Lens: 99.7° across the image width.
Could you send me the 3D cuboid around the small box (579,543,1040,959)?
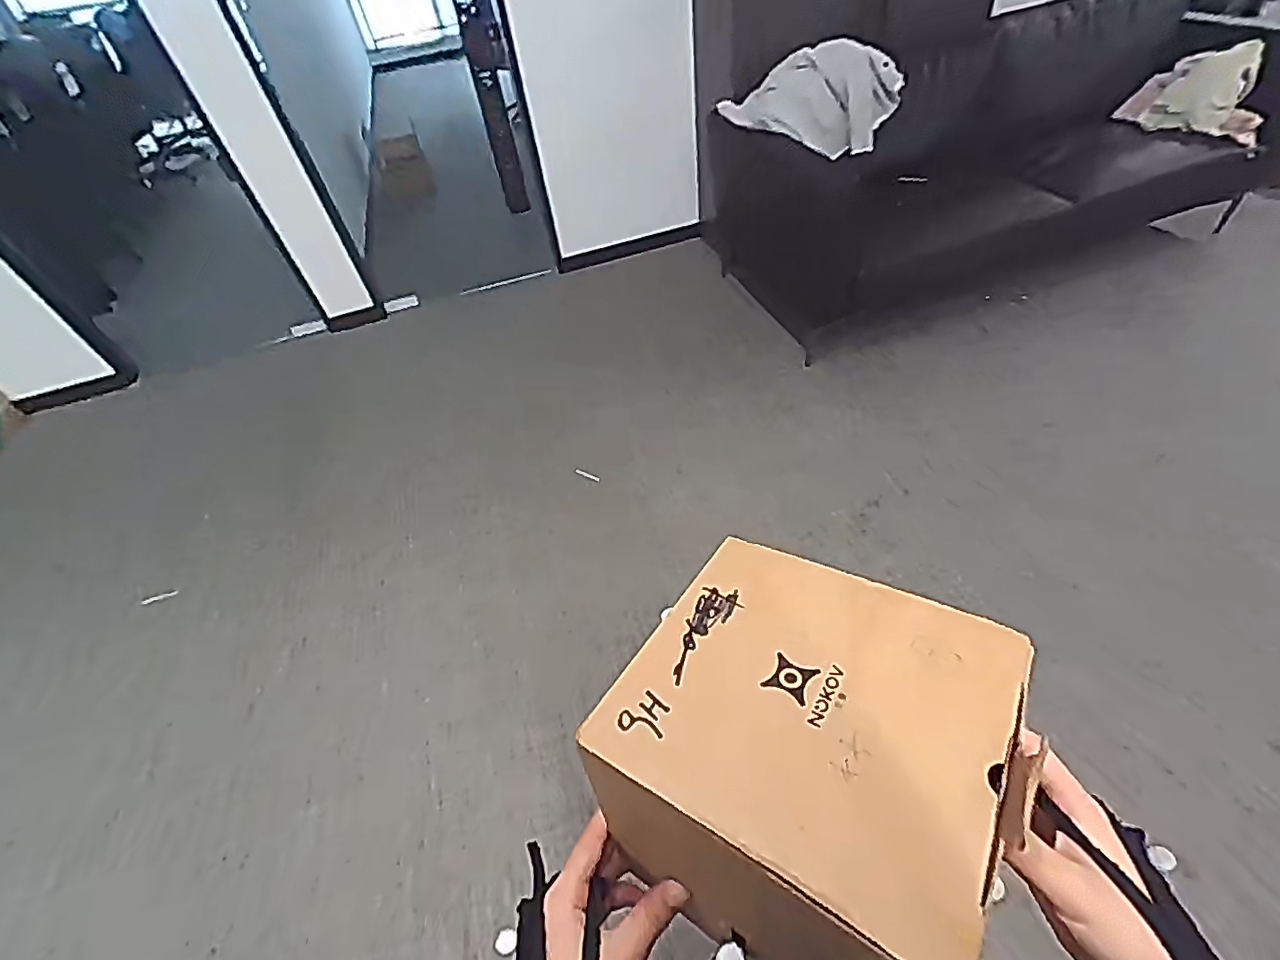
[{"bbox_3d":[0.094,0.173,0.318,0.179,0.176,0.168,20,44,33],"label":"small box"}]
